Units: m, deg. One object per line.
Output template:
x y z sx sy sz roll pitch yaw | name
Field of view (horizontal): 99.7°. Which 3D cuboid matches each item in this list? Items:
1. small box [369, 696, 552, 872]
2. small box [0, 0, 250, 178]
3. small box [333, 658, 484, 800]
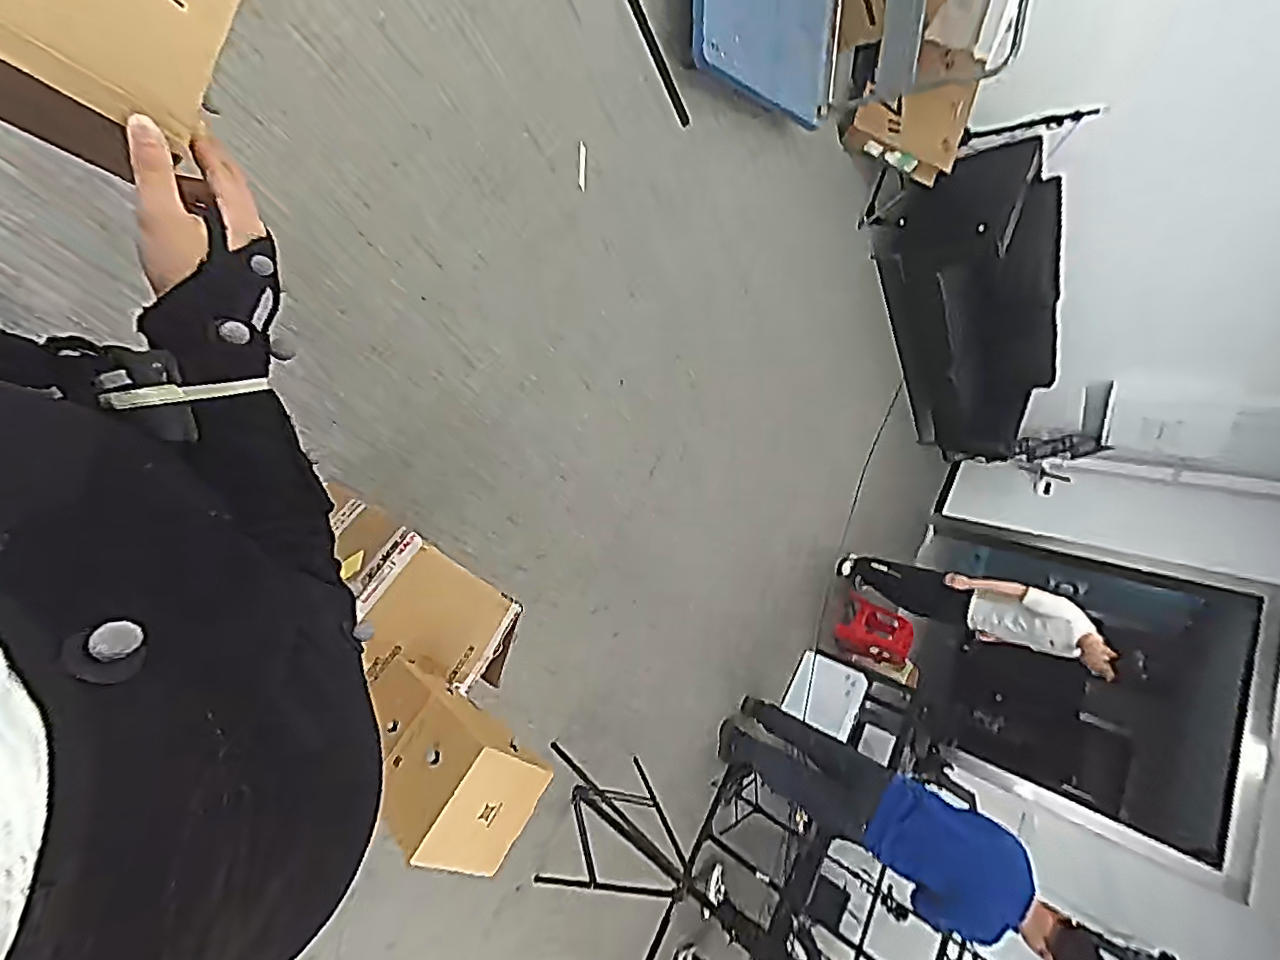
-0.280 0.466 0.845 0.168 0.176 0.179 -56 135 -19 | small box
-0.362 -0.312 0.324 0.179 0.176 0.168 21 88 -49 | small box
-0.399 0.446 0.955 0.179 0.176 0.168 -54 133 -21 | small box
